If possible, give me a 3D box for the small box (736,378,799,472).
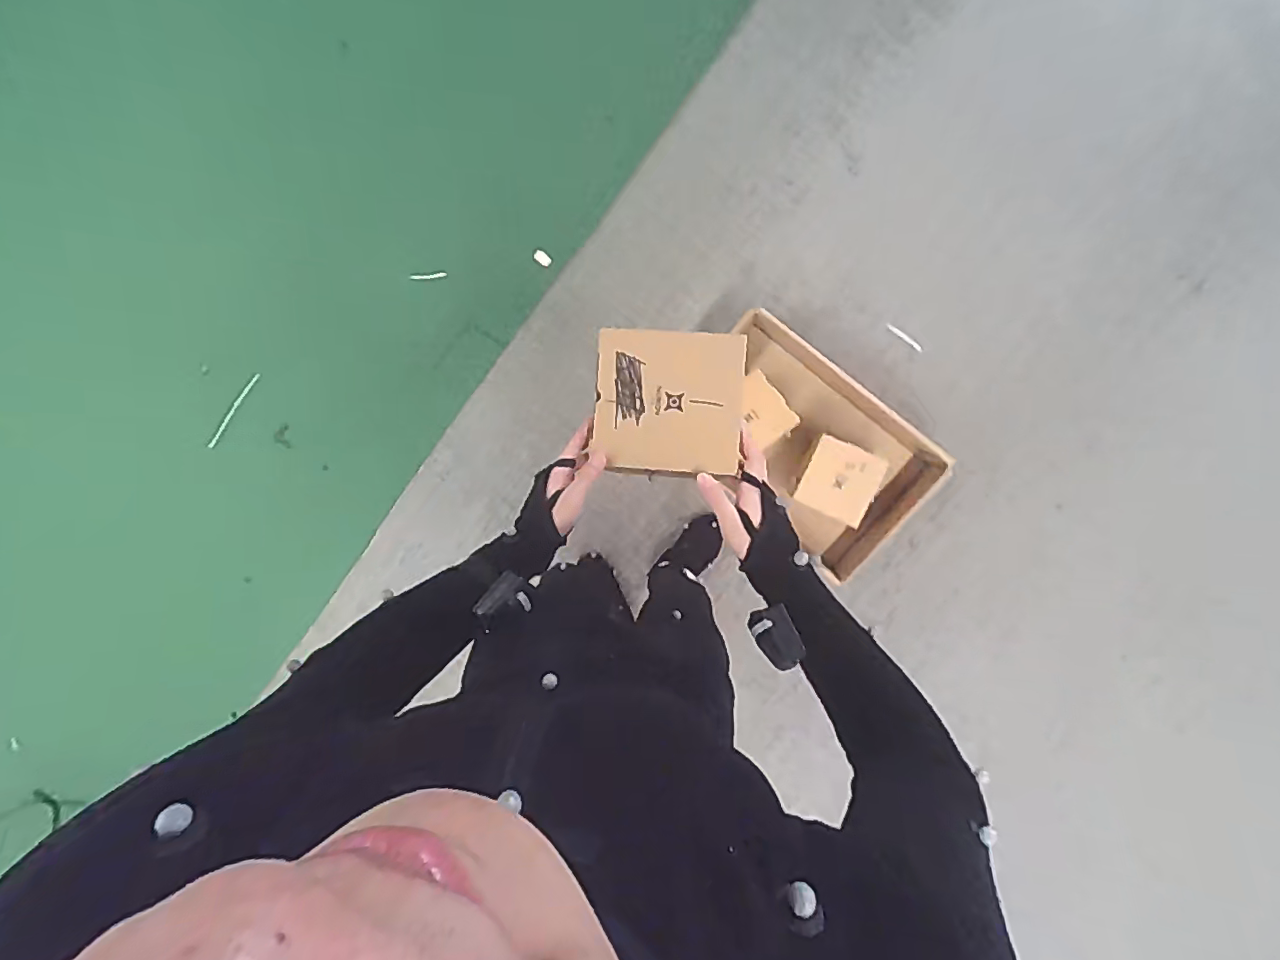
[{"bbox_3d":[0.281,-0.134,1.385,0.179,0.176,0.168,-38,86,8],"label":"small box"}]

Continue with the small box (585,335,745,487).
[{"bbox_3d":[0.035,-0.079,0.701,0.179,0.176,0.168,4,88,5],"label":"small box"}]

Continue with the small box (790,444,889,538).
[{"bbox_3d":[0.488,0.024,1.354,0.168,0.176,0.179,26,96,8],"label":"small box"}]
